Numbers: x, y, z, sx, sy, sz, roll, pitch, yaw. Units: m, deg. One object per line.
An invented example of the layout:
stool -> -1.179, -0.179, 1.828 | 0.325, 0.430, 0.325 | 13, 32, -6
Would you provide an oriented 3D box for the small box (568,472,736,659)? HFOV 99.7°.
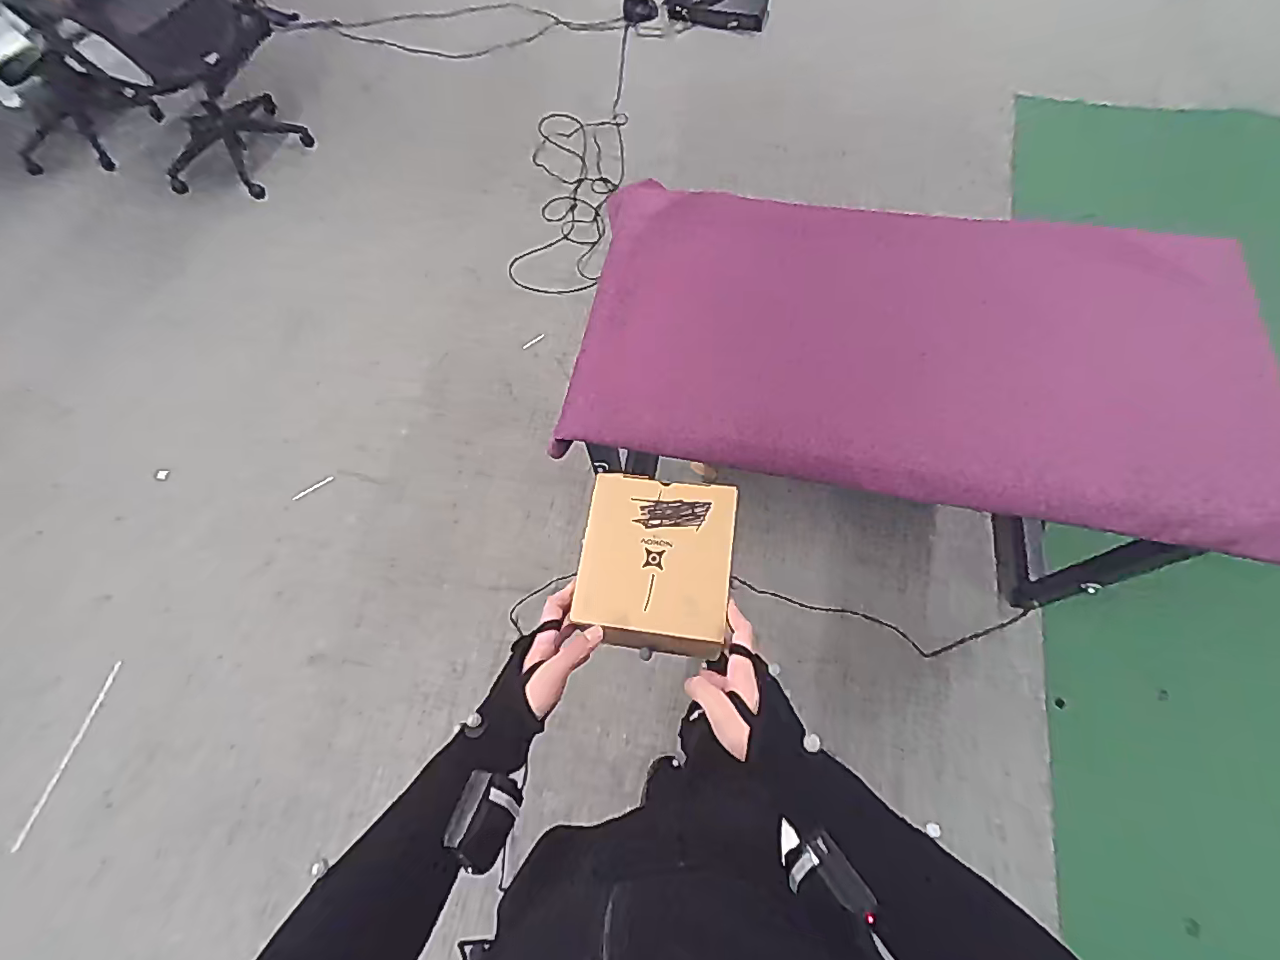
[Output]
small box -> 0.022, 0.111, 0.666 | 0.168, 0.176, 0.179 | 6, 66, 8
